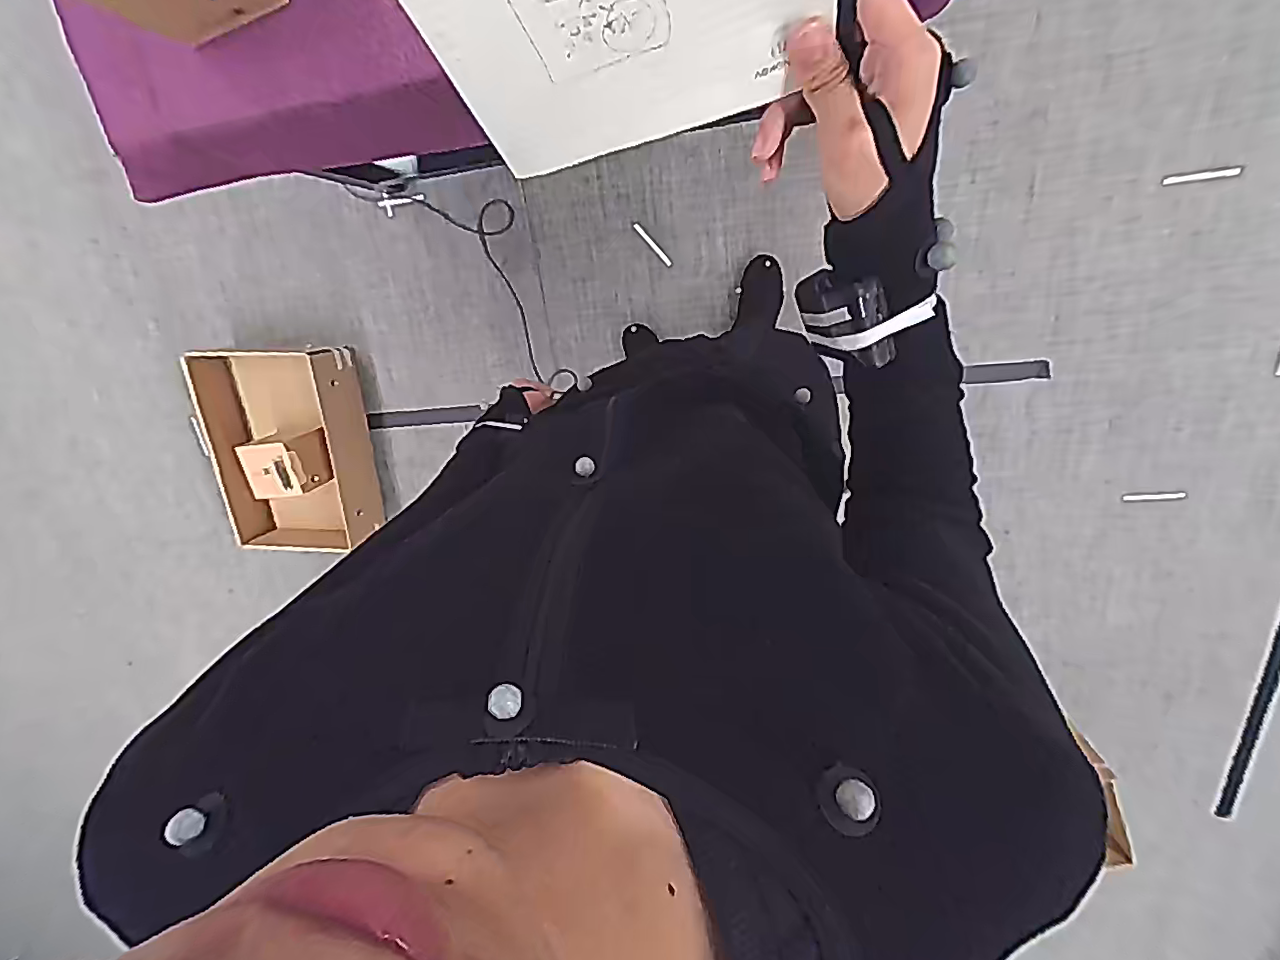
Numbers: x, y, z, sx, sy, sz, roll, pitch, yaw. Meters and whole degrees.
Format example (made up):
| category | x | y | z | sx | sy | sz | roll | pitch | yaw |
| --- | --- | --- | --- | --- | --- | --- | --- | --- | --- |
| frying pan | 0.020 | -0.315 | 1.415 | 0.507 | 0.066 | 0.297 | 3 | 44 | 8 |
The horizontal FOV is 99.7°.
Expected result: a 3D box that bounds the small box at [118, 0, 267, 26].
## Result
| category | x | y | z | sx | sy | sz | roll | pitch | yaw |
| --- | --- | --- | --- | --- | --- | --- | --- | --- | --- |
| small box | -0.565 | -0.668 | 0.621 | 0.168 | 0.176 | 0.179 | -12 | 109 | 11 |
